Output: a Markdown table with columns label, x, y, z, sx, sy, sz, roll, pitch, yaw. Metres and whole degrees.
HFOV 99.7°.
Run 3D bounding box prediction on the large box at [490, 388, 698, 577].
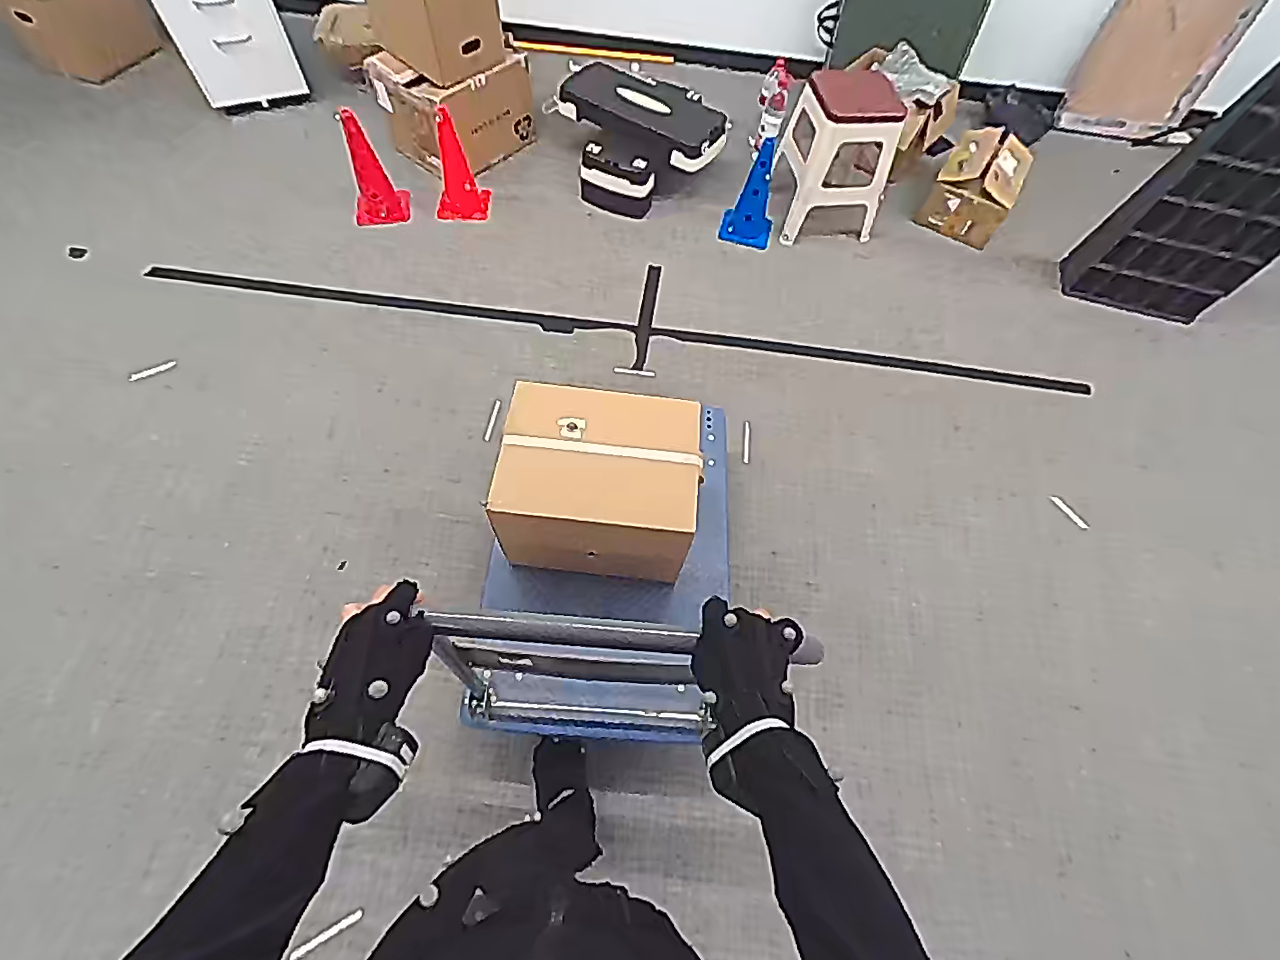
| label | x | y | z | sx | sy | sz | roll | pitch | yaw |
| --- | --- | --- | --- | --- | --- | --- | --- | --- | --- |
| large box | -0.087 | 0.019 | 1.248 | 0.408 | 0.320 | 0.320 | 6 | 61 | 0 |
